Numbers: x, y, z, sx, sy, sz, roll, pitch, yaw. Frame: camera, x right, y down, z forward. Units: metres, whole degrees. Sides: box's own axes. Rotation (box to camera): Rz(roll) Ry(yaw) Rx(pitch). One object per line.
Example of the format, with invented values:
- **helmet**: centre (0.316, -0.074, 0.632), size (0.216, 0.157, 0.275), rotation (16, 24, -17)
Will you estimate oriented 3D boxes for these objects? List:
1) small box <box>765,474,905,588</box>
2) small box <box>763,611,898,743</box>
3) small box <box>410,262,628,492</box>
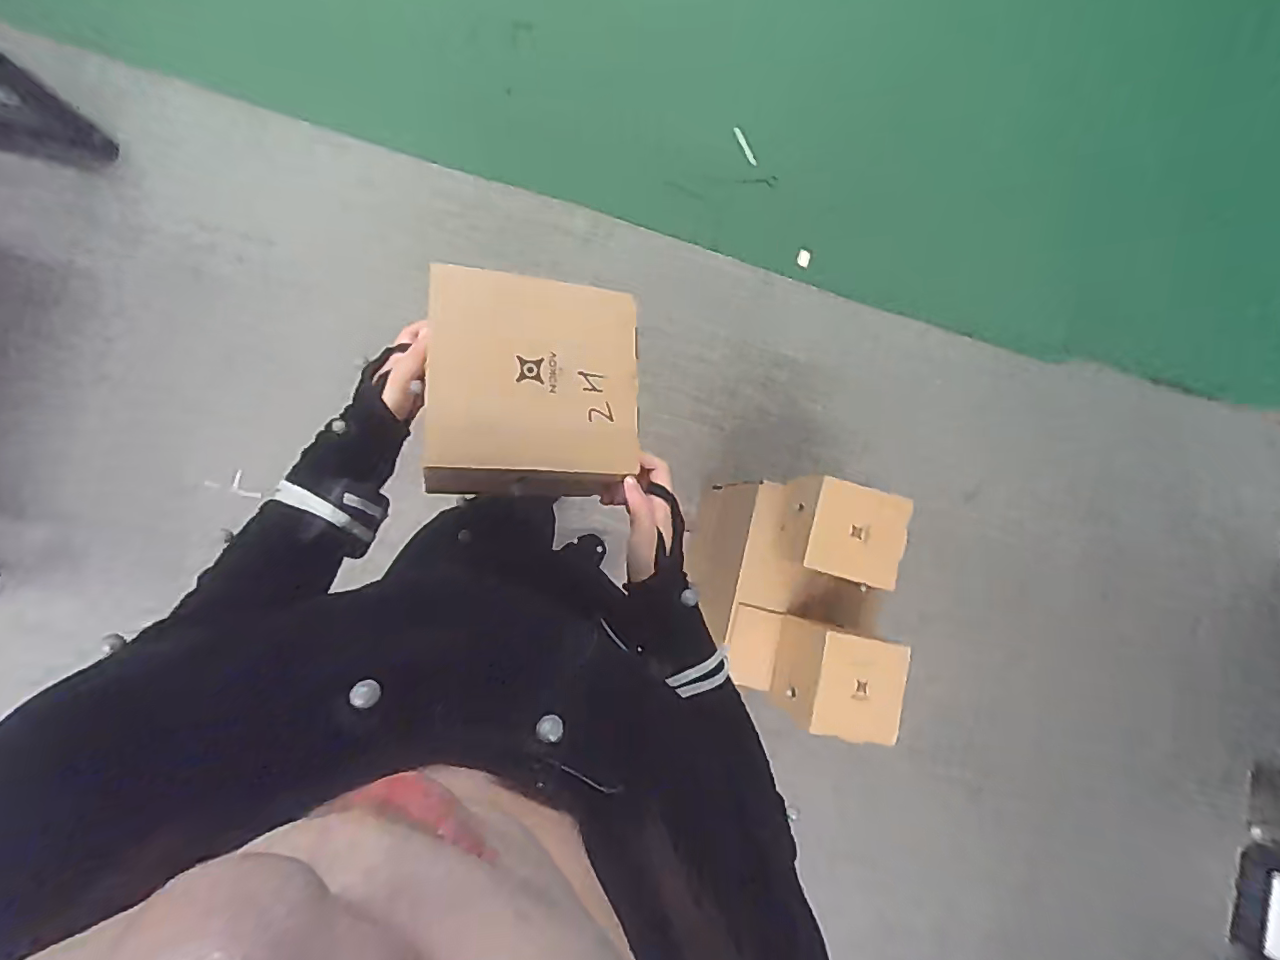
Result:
- **small box**: centre (0.361, 0.093, 1.032), size (0.179, 0.176, 0.168), rotation (16, 87, -7)
- **small box**: centre (0.349, 0.362, 1.021), size (0.168, 0.176, 0.179), rotation (15, 84, -10)
- **small box**: centre (-0.120, -0.079, 0.519), size (0.179, 0.176, 0.168), rotation (3, 82, -22)
